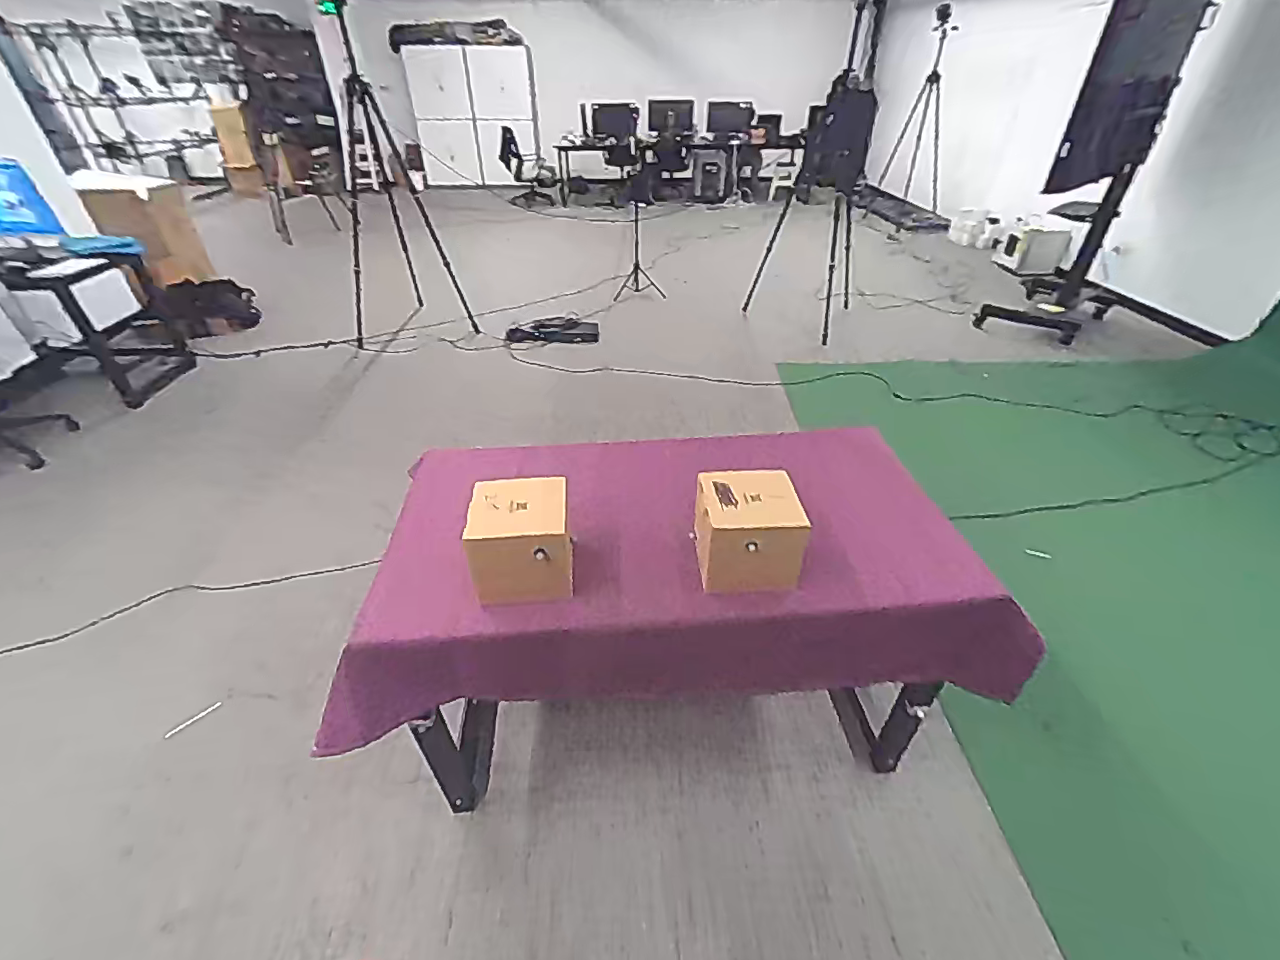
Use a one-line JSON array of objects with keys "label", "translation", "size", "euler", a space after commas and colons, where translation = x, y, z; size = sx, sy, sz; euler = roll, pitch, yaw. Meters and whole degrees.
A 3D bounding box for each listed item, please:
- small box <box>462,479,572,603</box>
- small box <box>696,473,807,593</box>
[{"label": "small box", "translation": [-0.221, 0.115, 1.026], "size": [0.179, 0.176, 0.168], "euler": [-2, 36, -4]}, {"label": "small box", "translation": [0.202, 0.103, 1.042], "size": [0.179, 0.176, 0.168], "euler": [-1, 37, -2]}]
